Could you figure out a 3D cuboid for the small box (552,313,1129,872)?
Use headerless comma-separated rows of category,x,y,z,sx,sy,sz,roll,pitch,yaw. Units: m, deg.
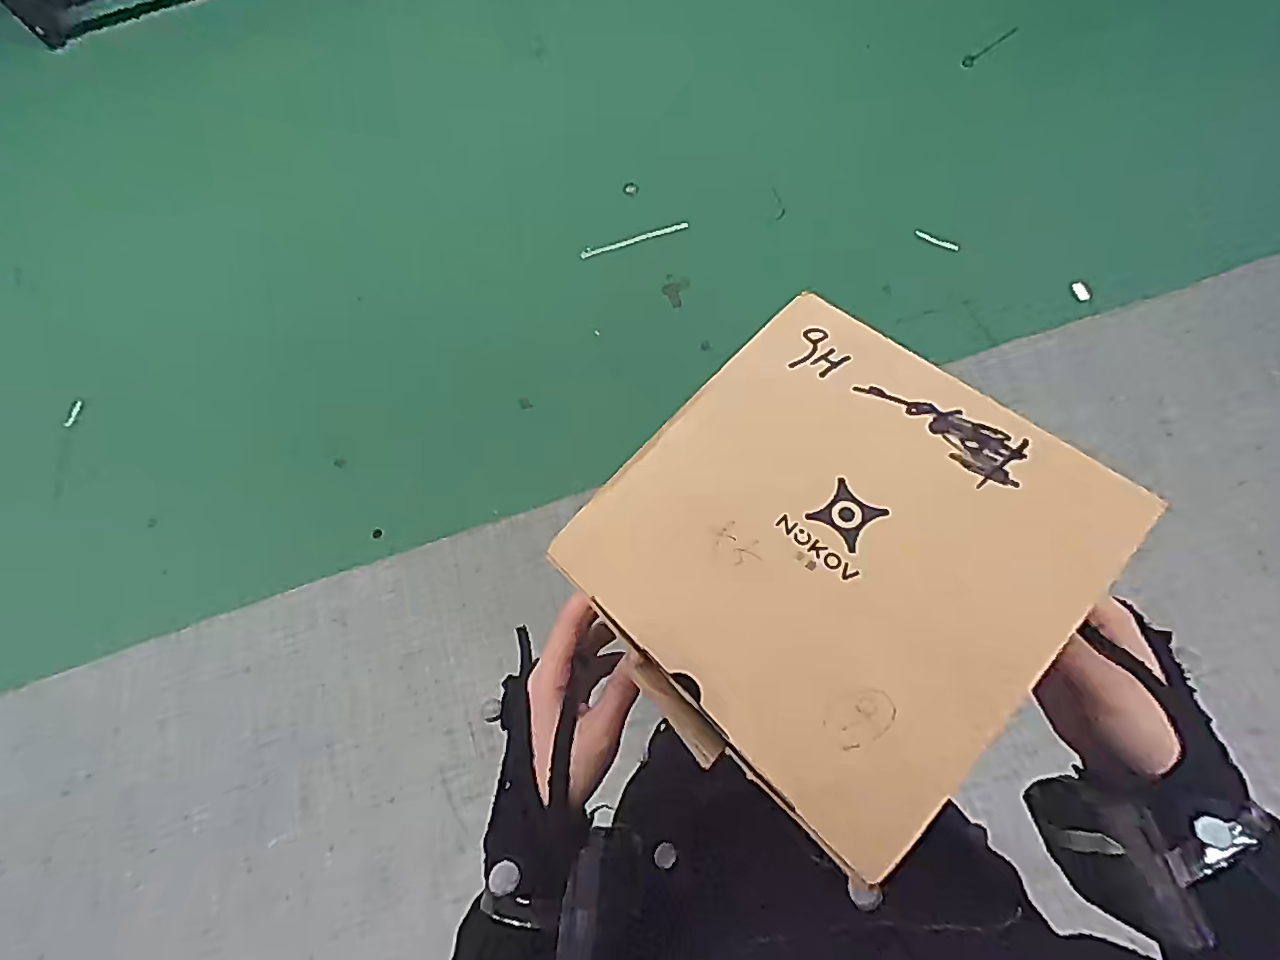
small box,0.088,0.055,0.298,0.168,0.176,0.179,41,81,21
